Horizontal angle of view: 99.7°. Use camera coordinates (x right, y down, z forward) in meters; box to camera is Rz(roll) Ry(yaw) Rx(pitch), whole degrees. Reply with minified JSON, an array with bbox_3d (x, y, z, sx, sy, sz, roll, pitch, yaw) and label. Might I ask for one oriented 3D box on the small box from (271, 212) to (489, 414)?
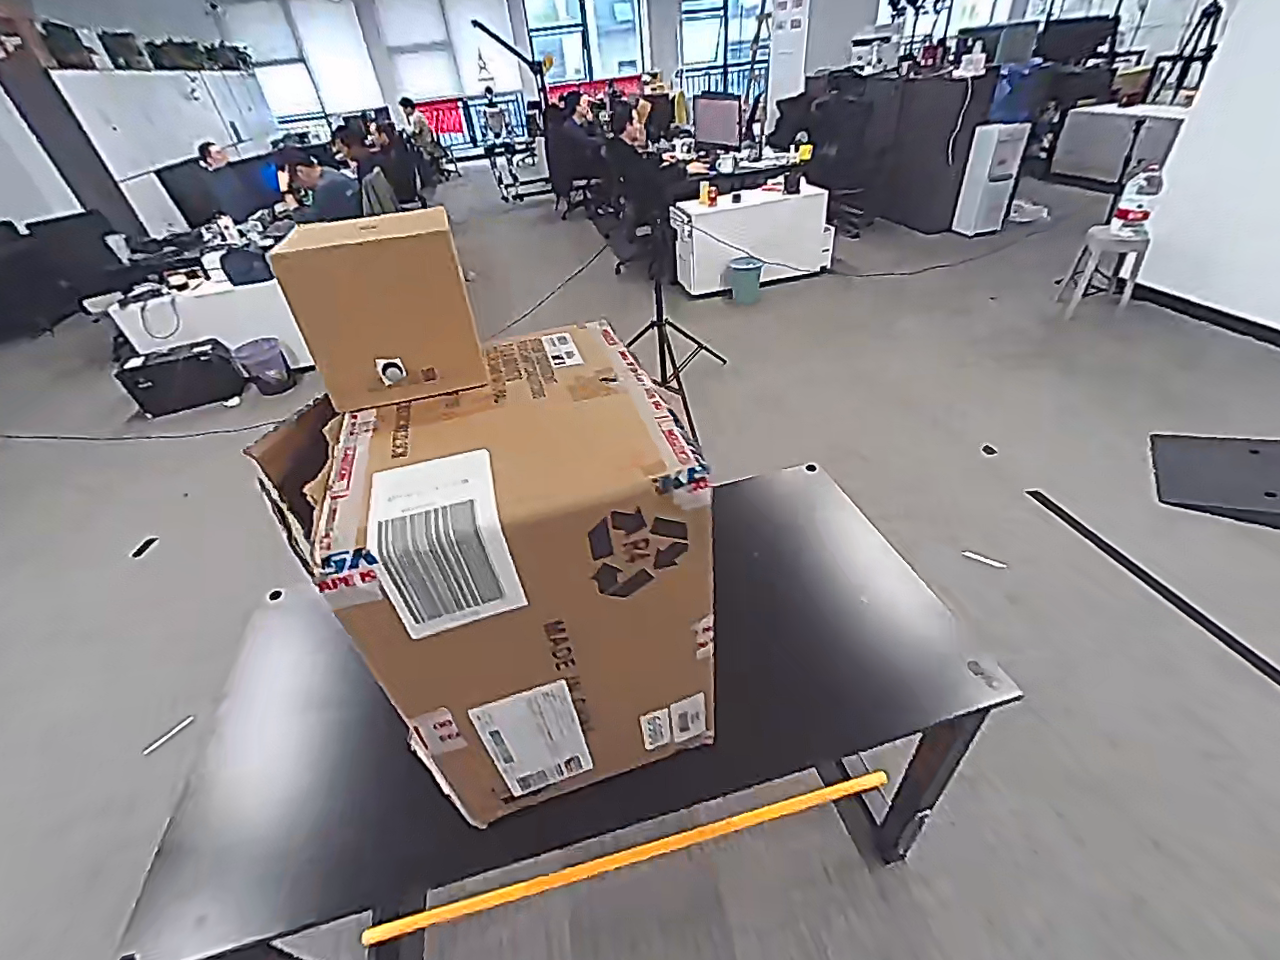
[{"bbox_3d":[-0.282,-0.197,0.624,0.168,0.176,0.179,-16,37,-13],"label":"small box"}]
